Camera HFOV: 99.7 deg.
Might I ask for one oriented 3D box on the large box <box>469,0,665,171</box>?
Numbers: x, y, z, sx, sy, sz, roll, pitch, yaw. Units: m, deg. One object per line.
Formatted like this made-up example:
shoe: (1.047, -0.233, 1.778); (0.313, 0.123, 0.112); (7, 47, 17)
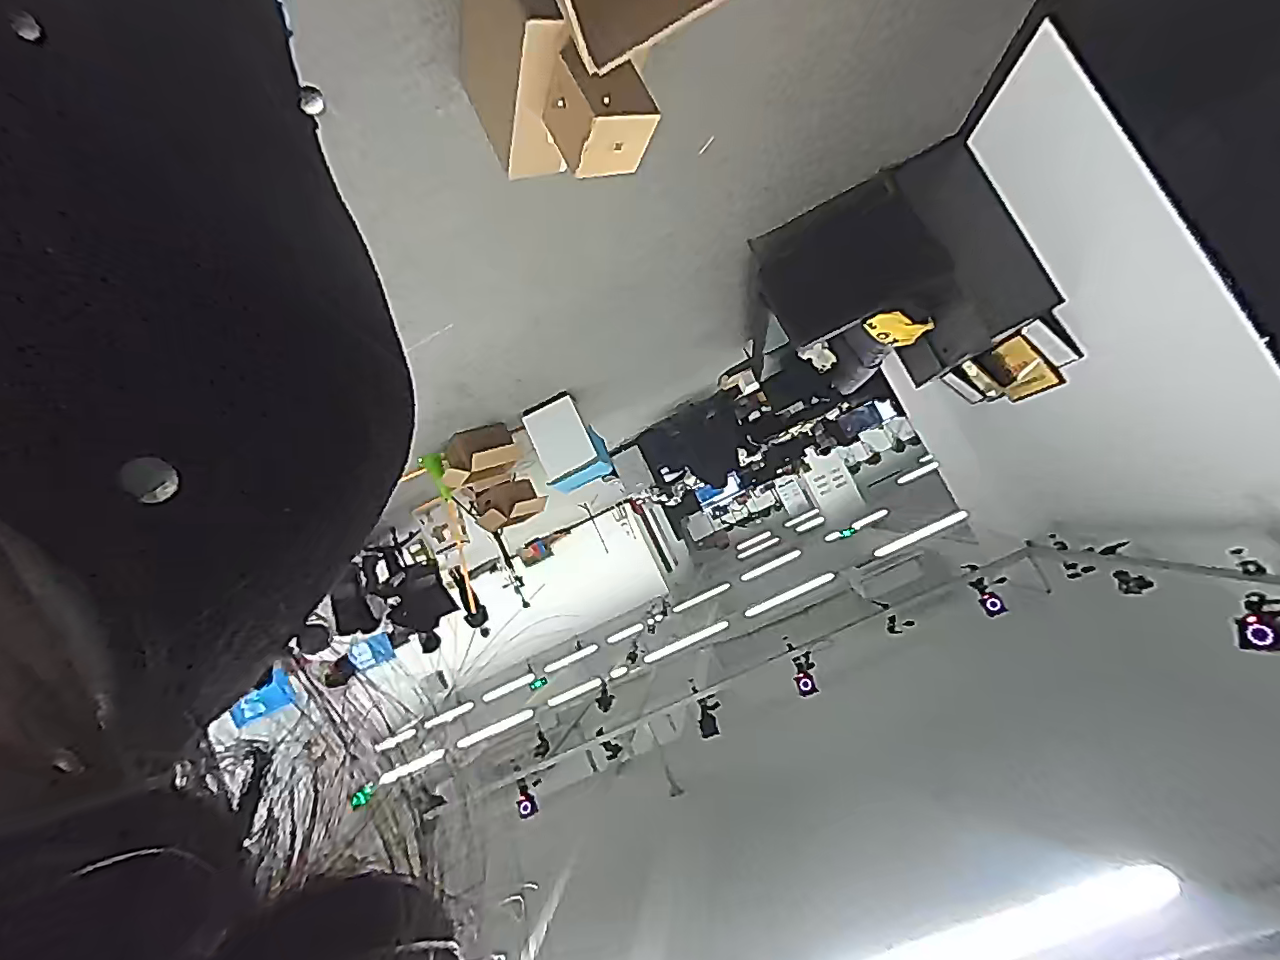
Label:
large box: (-0.196, -1.028, 1.275); (0.320, 0.320, 0.408); (-22, 174, -23)

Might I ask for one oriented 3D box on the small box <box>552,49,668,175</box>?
small box: (-0.072, -0.823, 1.213); (0.179, 0.176, 0.168); (-23, 174, -27)
